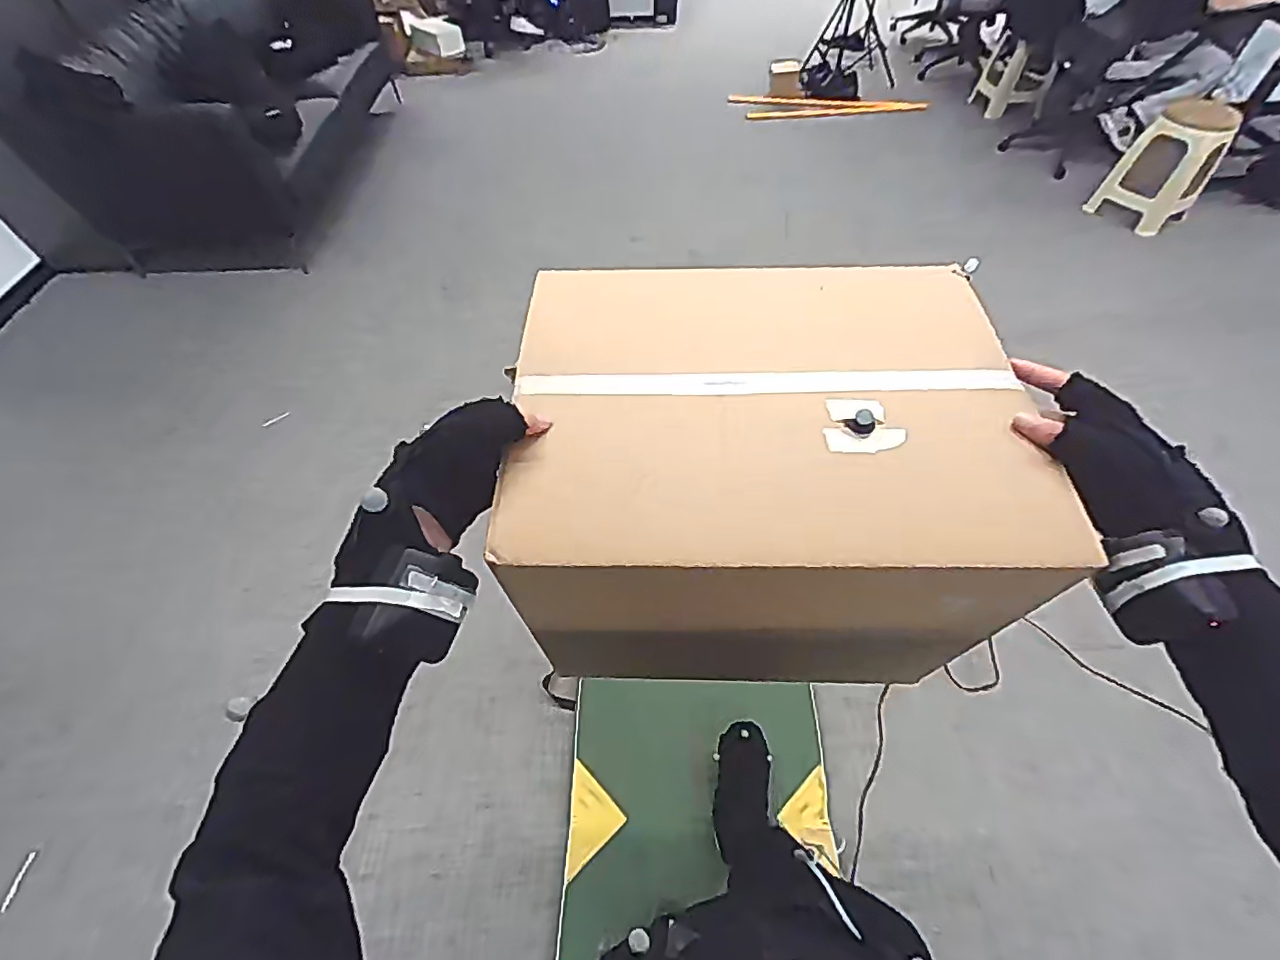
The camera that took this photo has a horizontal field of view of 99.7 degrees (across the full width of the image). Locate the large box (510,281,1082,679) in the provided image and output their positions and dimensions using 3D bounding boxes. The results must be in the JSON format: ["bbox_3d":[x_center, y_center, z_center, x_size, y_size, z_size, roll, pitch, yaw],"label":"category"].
[{"bbox_3d":[0.107,0.013,0.576,0.408,0.320,0.320,0,56,1],"label":"large box"}]
